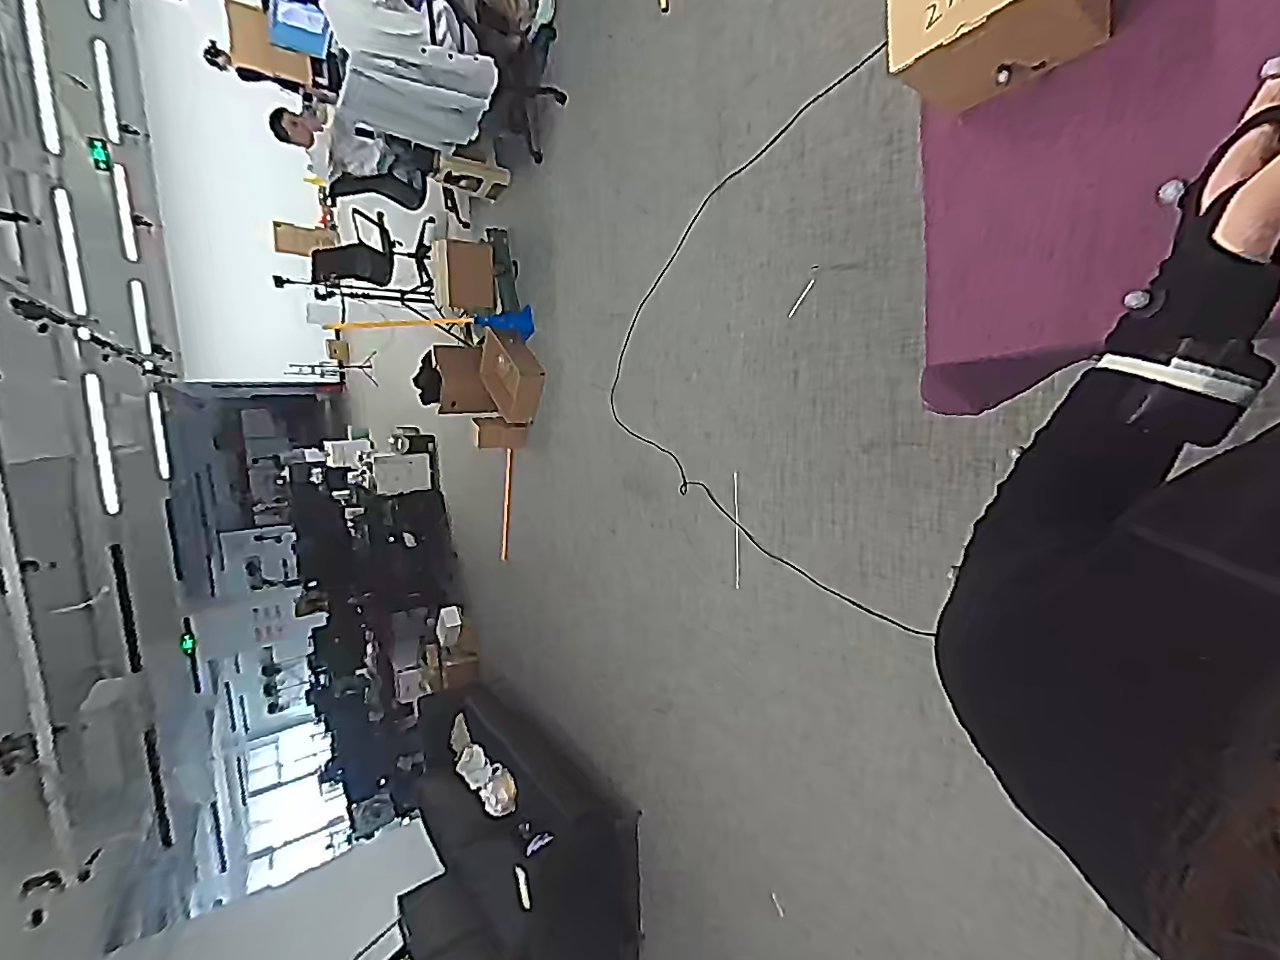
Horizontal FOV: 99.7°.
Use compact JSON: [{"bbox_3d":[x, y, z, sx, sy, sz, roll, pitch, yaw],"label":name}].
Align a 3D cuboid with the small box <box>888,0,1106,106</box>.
[{"bbox_3d":[0.408,-0.578,0.620,0.168,0.176,0.179,4,100,55],"label":"small box"}]
